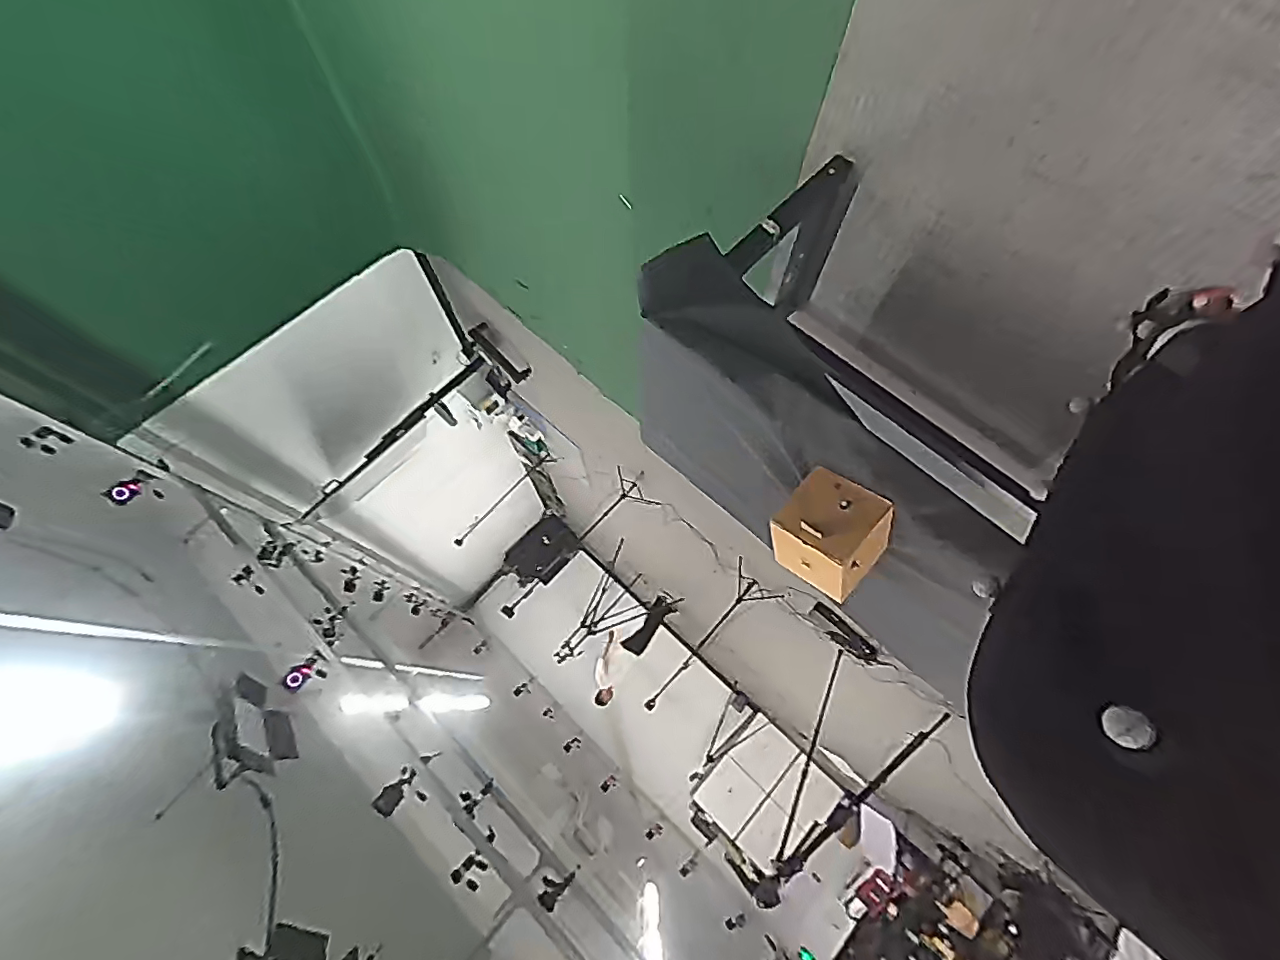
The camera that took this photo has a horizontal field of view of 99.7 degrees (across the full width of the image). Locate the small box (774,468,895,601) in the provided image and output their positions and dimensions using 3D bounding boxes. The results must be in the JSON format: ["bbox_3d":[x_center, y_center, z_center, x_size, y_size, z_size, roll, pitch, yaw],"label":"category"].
[{"bbox_3d":[0.401,0.109,1.114,0.168,0.176,0.179,34,161,36],"label":"small box"}]
